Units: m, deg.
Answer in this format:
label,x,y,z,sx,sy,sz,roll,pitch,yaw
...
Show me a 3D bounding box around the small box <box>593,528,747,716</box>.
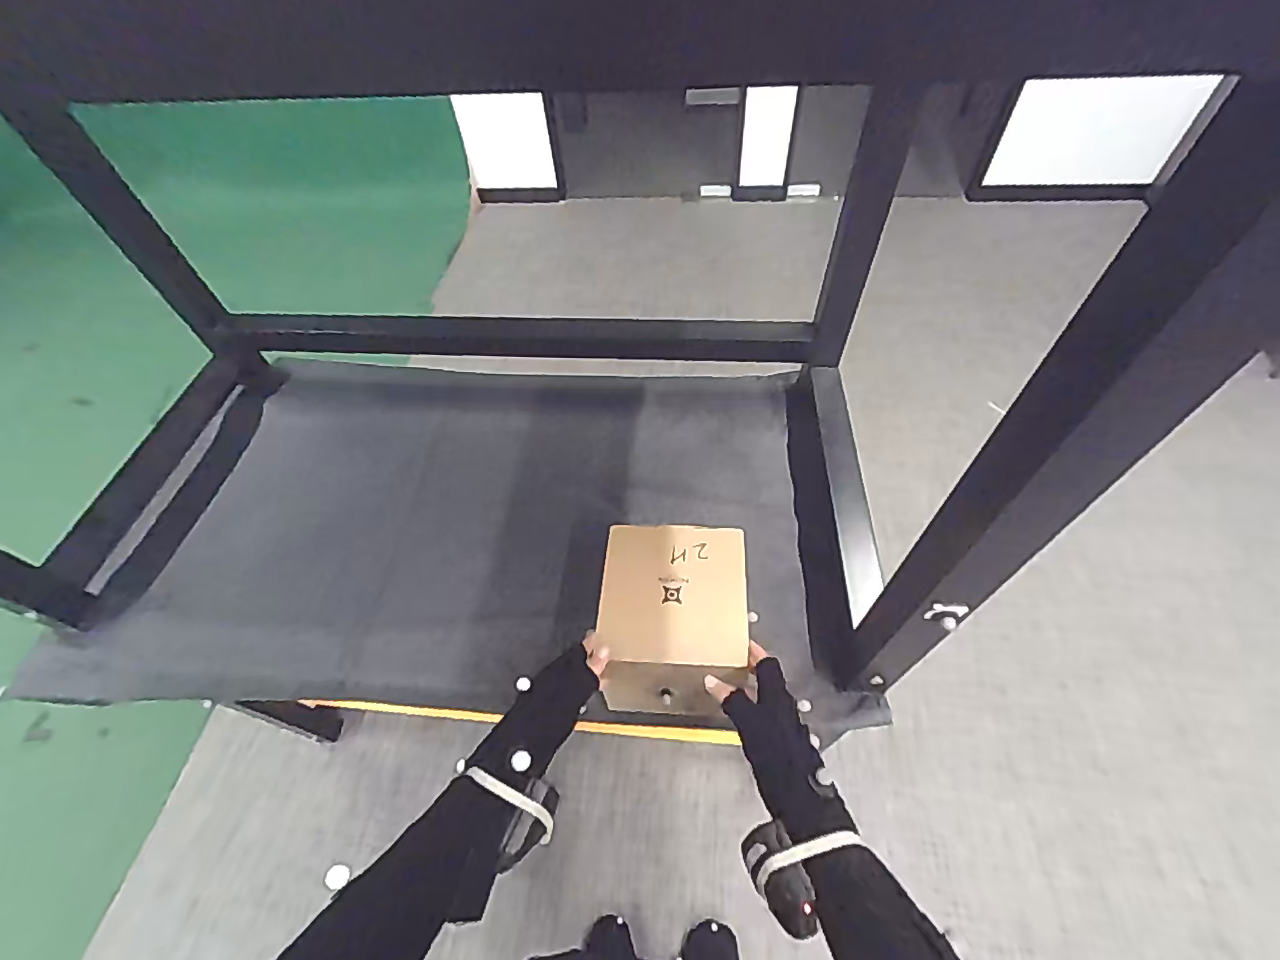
label,x,y,z,sx,sy,sz,roll,pitch,yaw
small box,0.043,0.180,0.676,0.168,0.176,0.179,2,49,6
